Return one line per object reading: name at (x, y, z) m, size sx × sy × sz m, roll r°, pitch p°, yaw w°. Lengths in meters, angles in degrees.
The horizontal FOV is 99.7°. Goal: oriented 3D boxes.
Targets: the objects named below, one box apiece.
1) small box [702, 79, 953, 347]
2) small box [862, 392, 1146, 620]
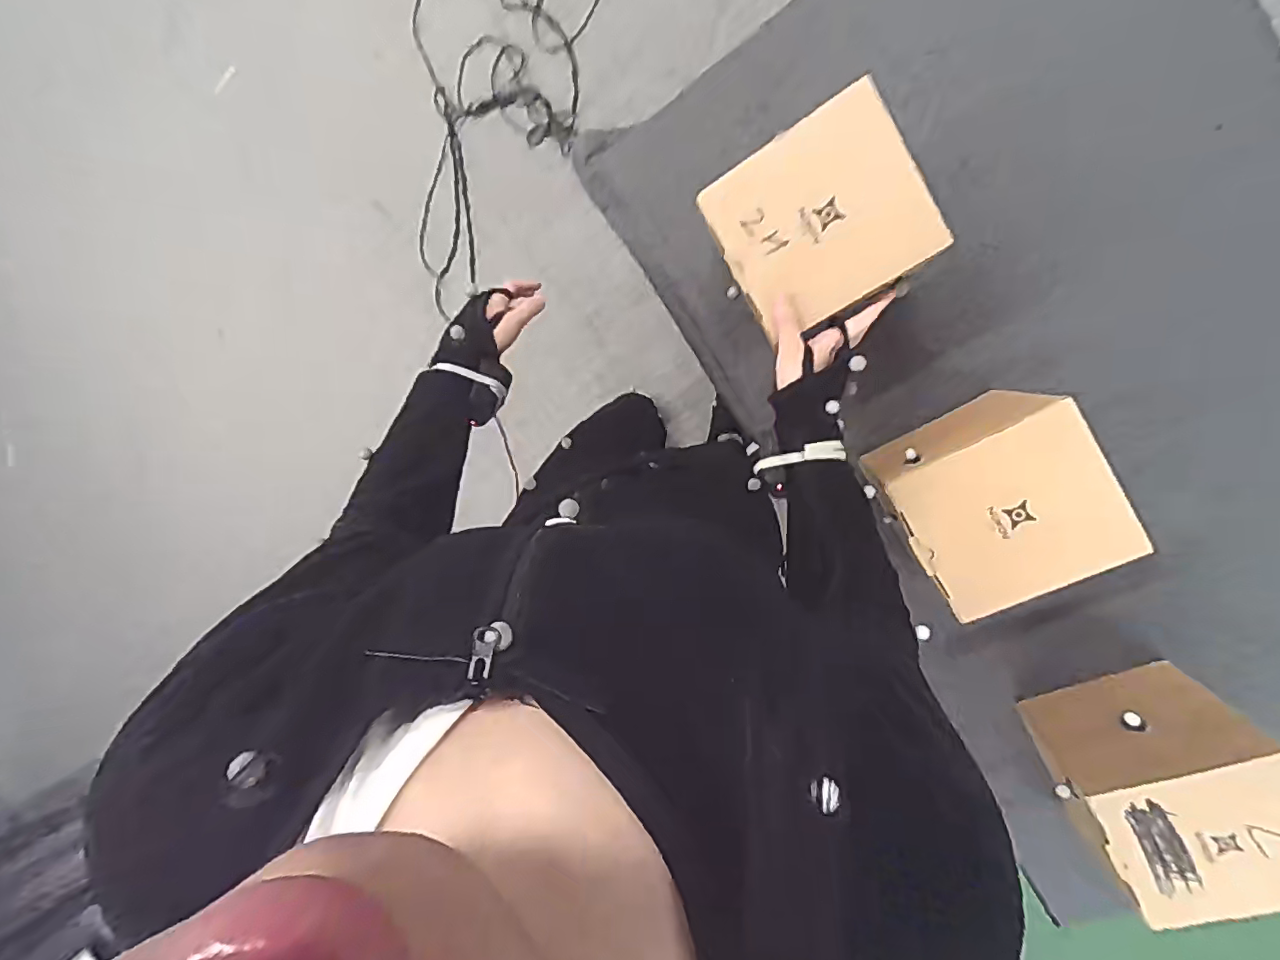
small box at (0.183, -0.257, 0.572) m, size 0.179 × 0.176 × 0.168 m, roll -29°, pitch 94°, yaw 16°
small box at (0.372, 0.016, 0.592) m, size 0.179 × 0.176 × 0.168 m, roll -30°, pitch 94°, yaw 17°
